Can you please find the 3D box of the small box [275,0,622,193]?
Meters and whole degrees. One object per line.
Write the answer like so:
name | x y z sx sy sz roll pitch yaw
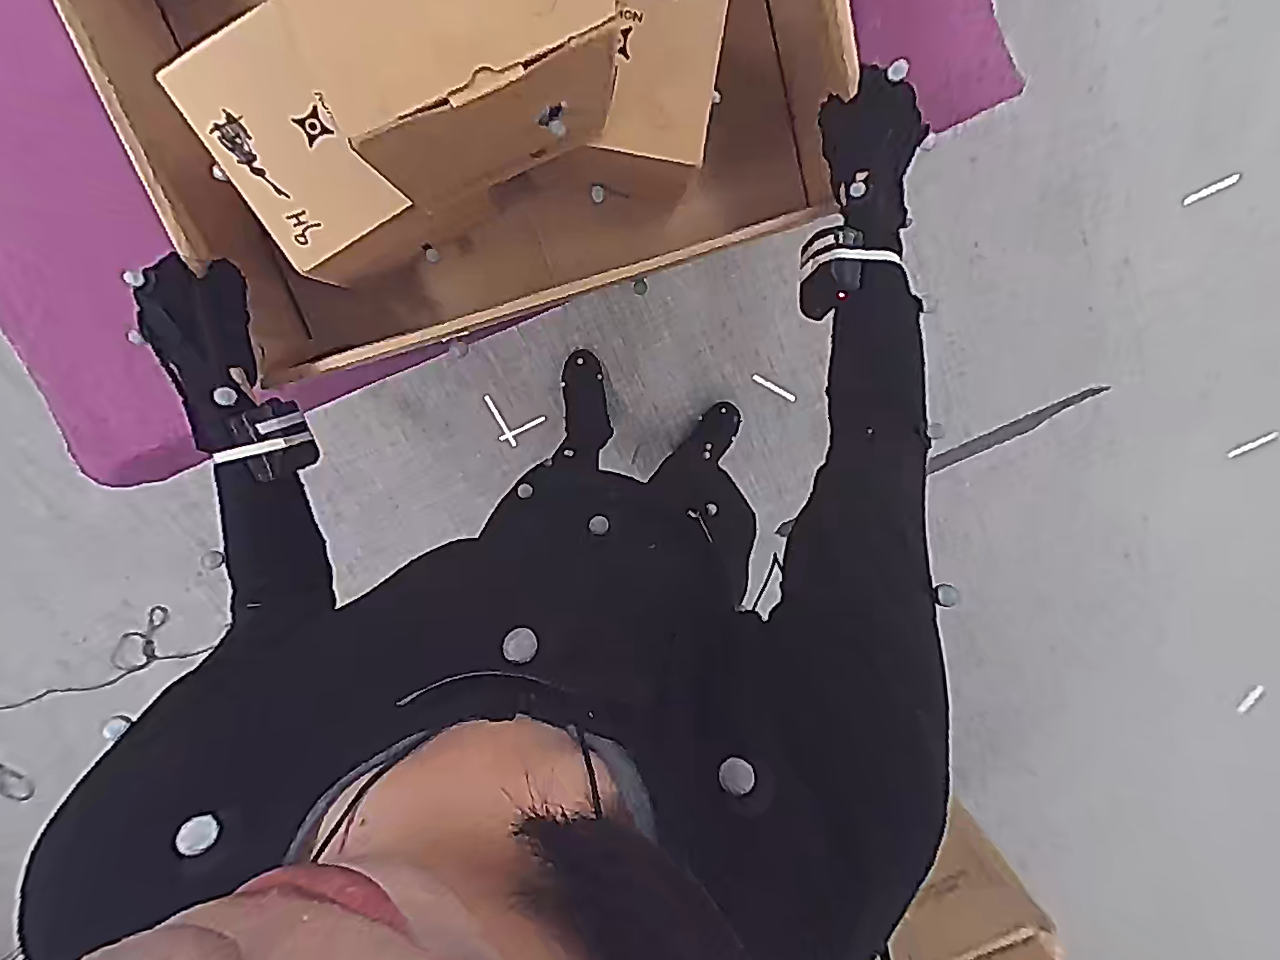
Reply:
small box | -0.123 -0.306 0.339 0.168 0.176 0.179 -25 105 -1
